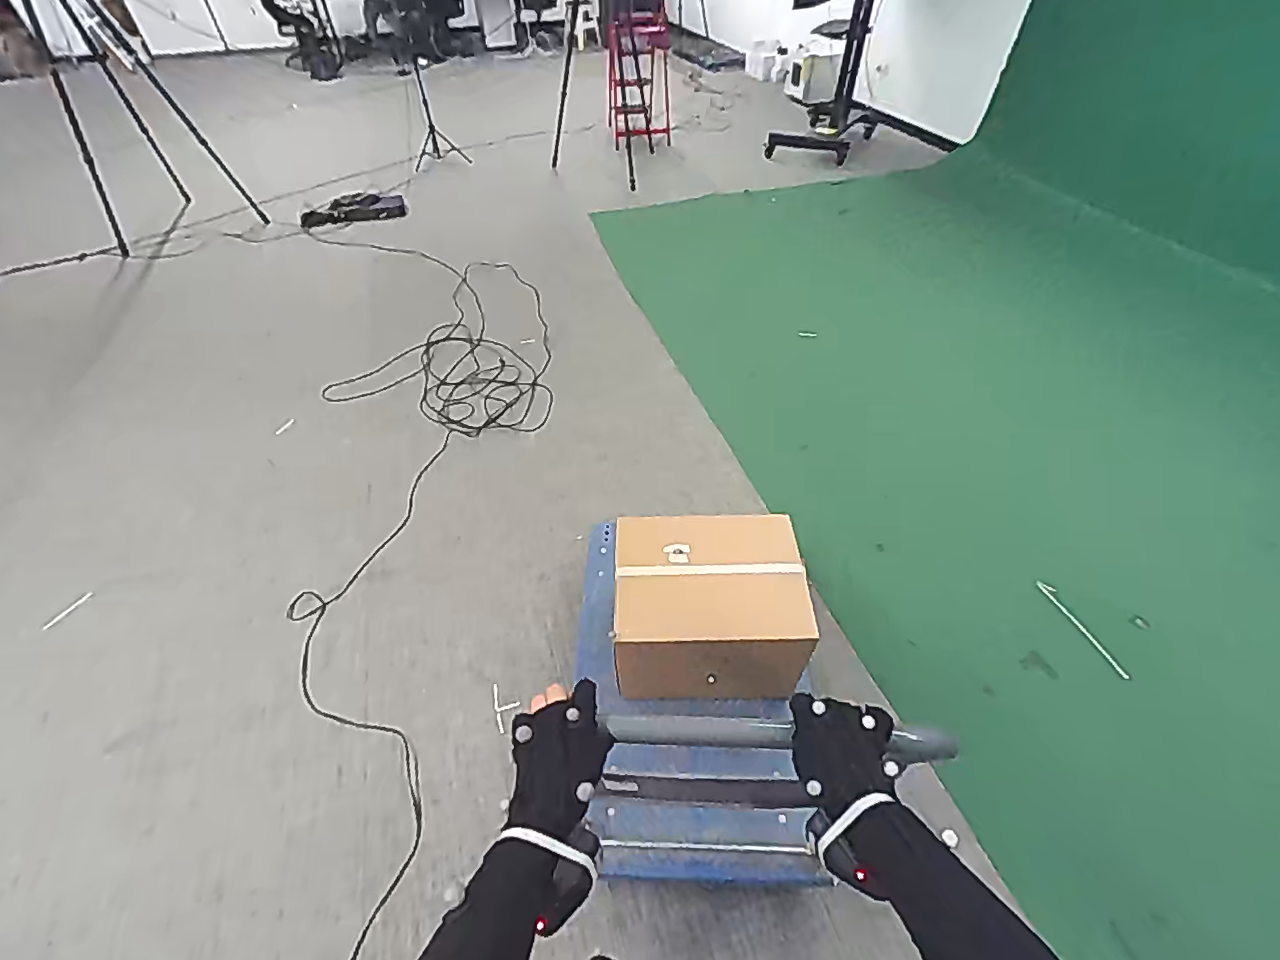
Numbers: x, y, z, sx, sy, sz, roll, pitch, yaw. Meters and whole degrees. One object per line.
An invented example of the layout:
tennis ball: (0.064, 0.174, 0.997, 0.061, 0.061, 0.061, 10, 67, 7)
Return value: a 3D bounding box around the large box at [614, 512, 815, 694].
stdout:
large box: (0.150, 0.294, 1.275, 0.408, 0.320, 0.320, -2, 47, 1)
